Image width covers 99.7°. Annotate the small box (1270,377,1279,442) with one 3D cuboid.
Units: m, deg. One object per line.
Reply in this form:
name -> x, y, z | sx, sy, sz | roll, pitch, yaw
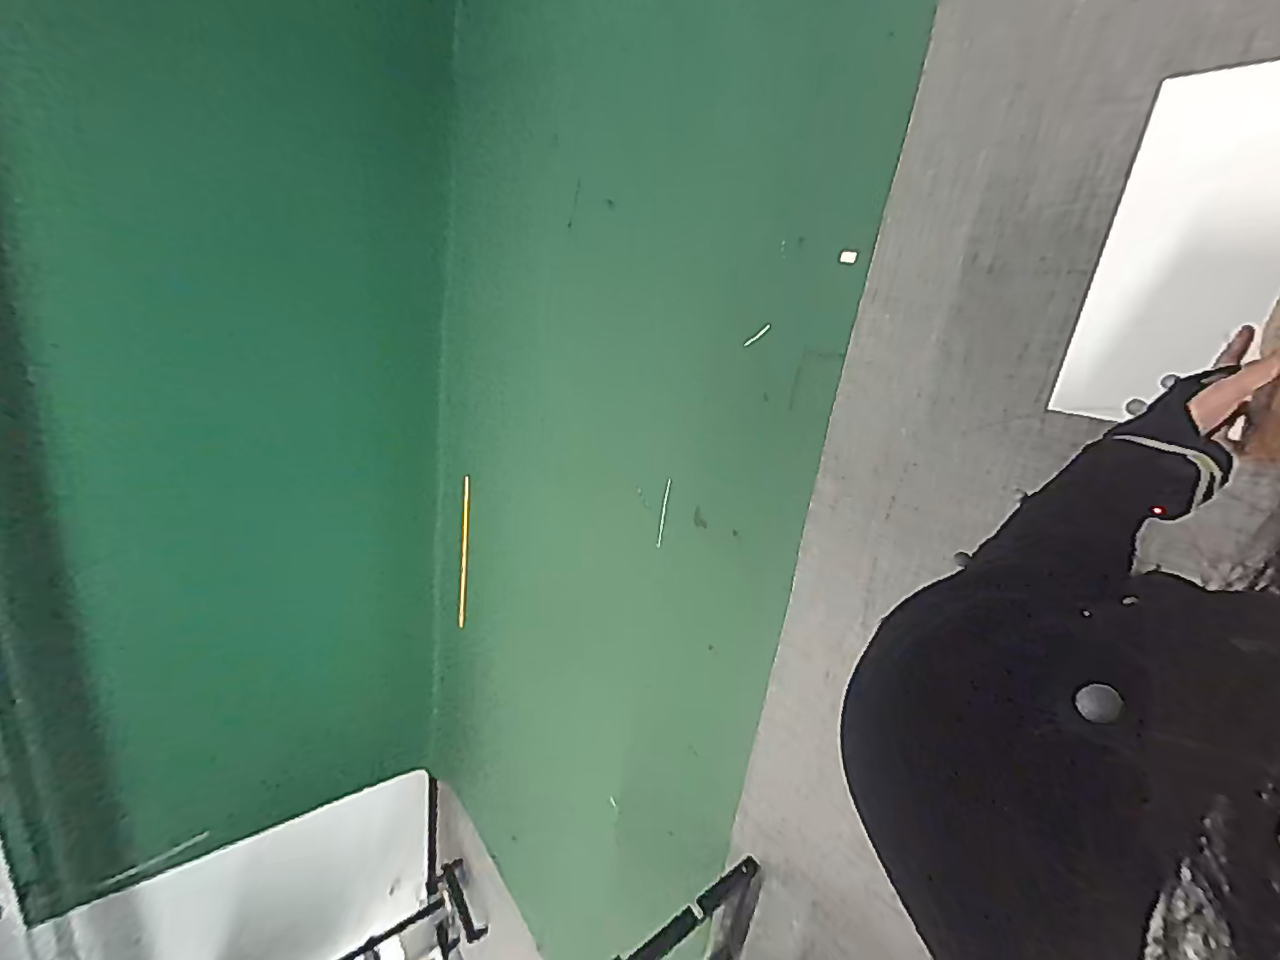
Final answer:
small box -> 0.649, -0.124, 0.423 | 0.168, 0.176, 0.179 | 15, 68, 41
